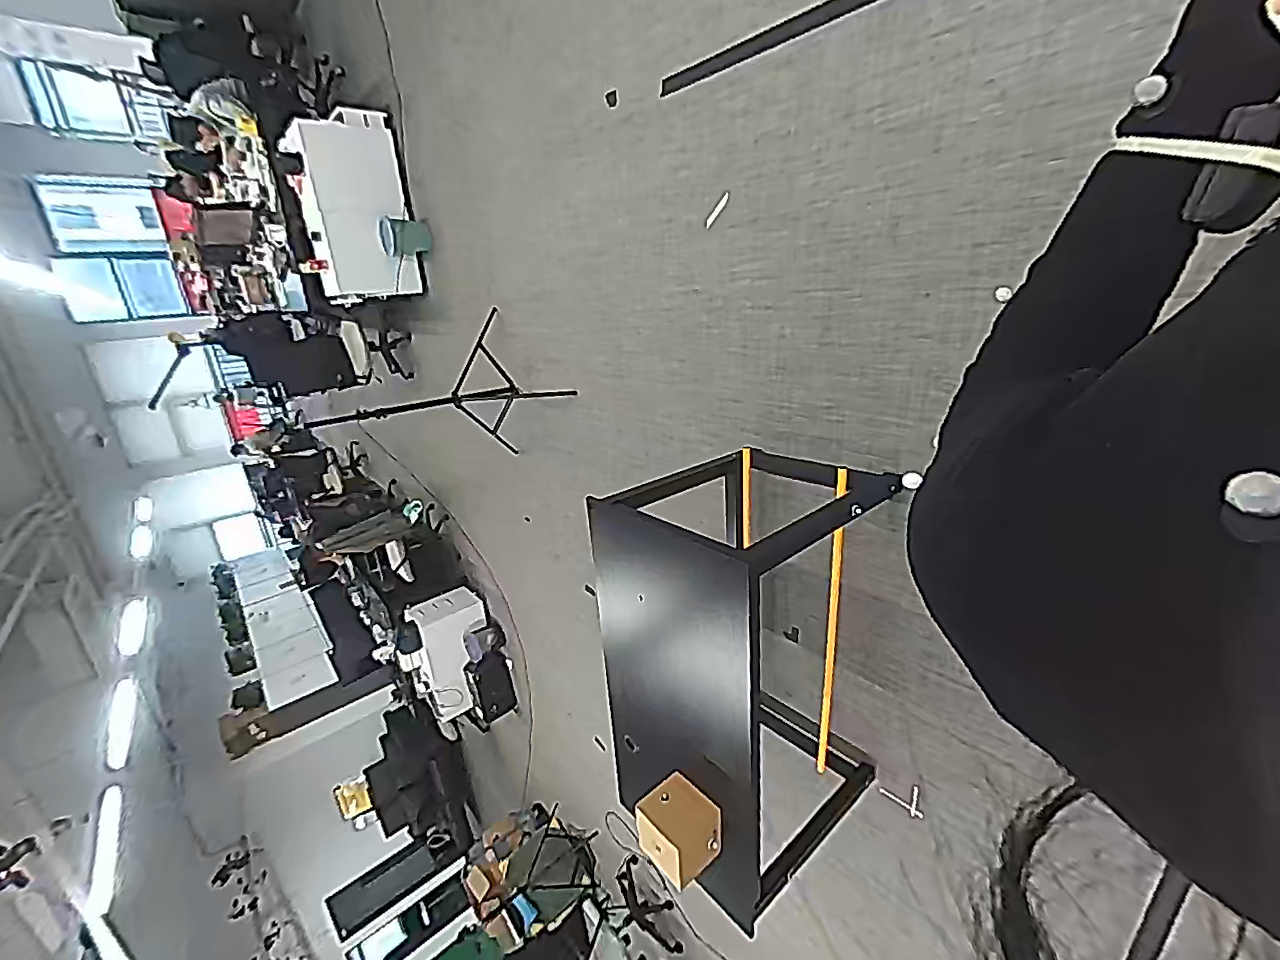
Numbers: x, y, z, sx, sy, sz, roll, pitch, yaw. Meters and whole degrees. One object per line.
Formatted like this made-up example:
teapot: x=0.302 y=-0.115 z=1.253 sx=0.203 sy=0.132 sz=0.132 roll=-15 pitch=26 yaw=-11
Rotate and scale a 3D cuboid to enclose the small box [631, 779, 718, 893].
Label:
small box: x=0.097 y=0.980 z=1.511 sx=0.179 sy=0.176 sz=0.168 roll=18 pitch=120 yaw=47
